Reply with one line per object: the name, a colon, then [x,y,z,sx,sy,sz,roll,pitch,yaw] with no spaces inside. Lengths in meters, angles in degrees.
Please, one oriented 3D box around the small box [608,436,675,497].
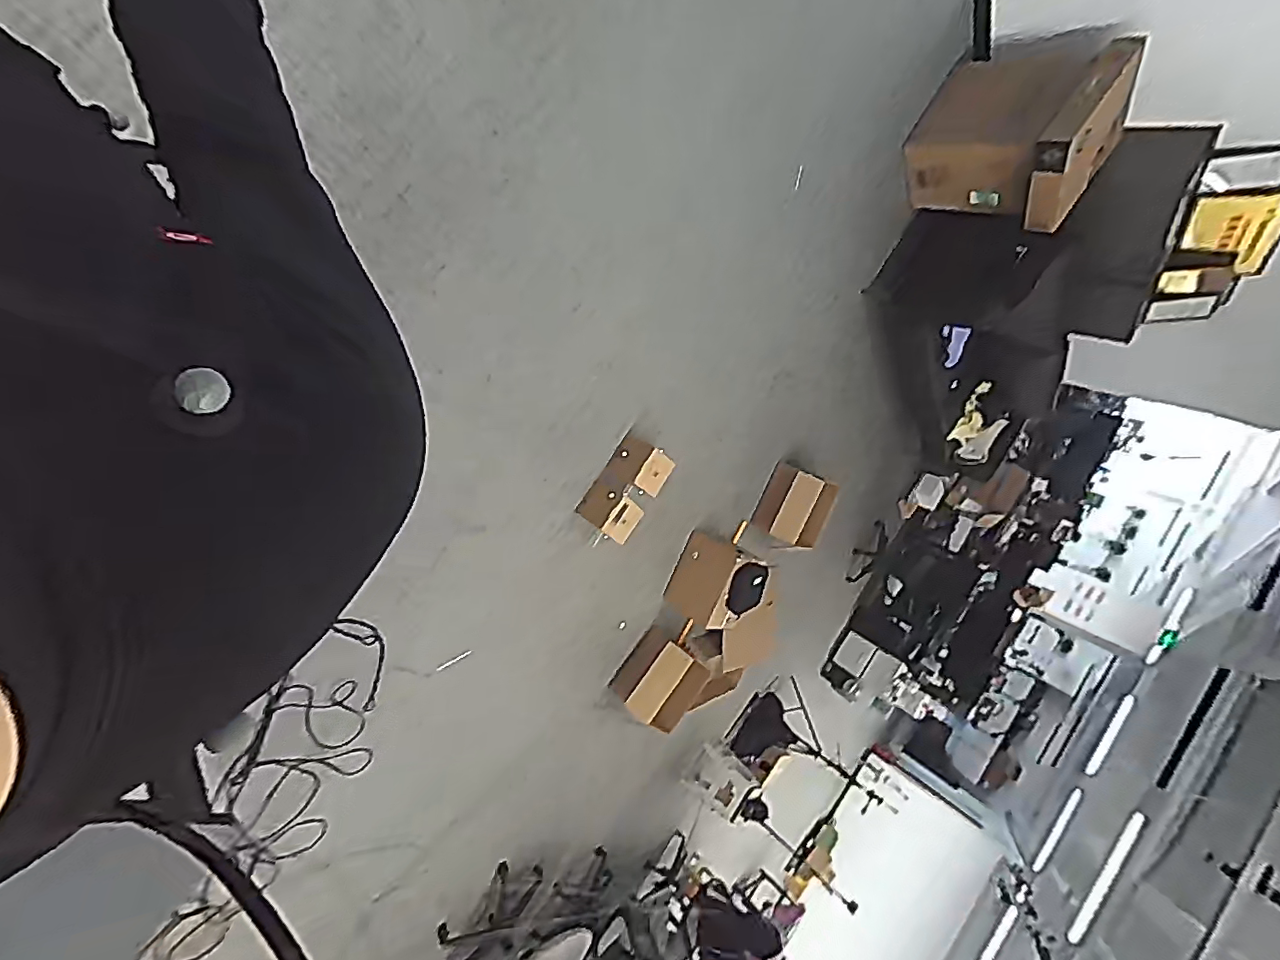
small box: [0.004,-0.057,2.198,0.168,0.176,0.179,-58,141,-4]
